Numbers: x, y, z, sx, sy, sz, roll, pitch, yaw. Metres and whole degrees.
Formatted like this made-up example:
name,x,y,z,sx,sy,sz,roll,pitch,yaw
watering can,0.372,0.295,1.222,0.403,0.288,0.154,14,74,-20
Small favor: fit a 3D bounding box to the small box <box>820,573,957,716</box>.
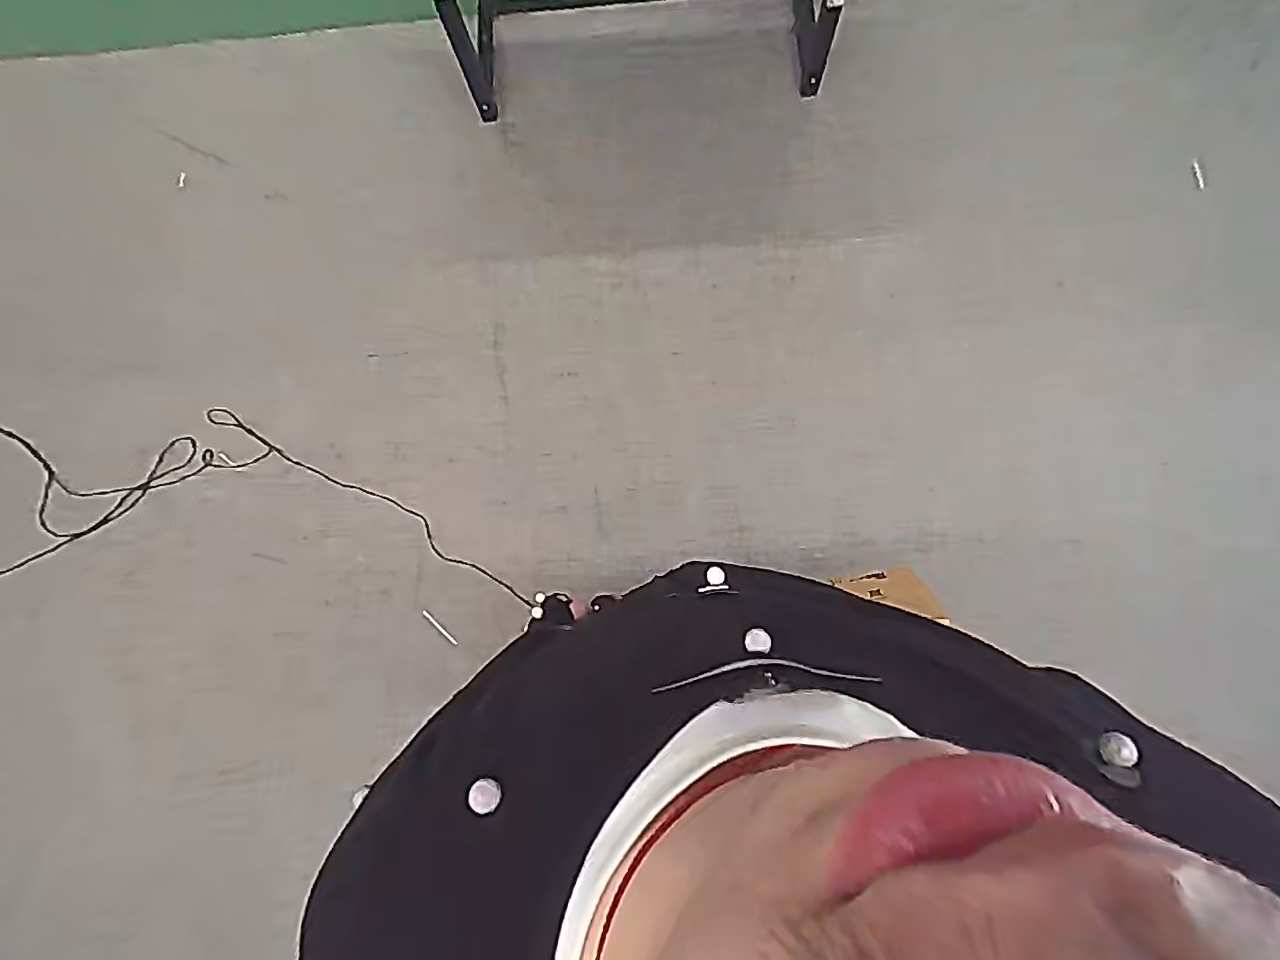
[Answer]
name,x,y,z,sx,sy,sz,roll,pitch,yaw
small box,0.420,0.282,0.926,0.168,0.179,0.176,-10,104,7
